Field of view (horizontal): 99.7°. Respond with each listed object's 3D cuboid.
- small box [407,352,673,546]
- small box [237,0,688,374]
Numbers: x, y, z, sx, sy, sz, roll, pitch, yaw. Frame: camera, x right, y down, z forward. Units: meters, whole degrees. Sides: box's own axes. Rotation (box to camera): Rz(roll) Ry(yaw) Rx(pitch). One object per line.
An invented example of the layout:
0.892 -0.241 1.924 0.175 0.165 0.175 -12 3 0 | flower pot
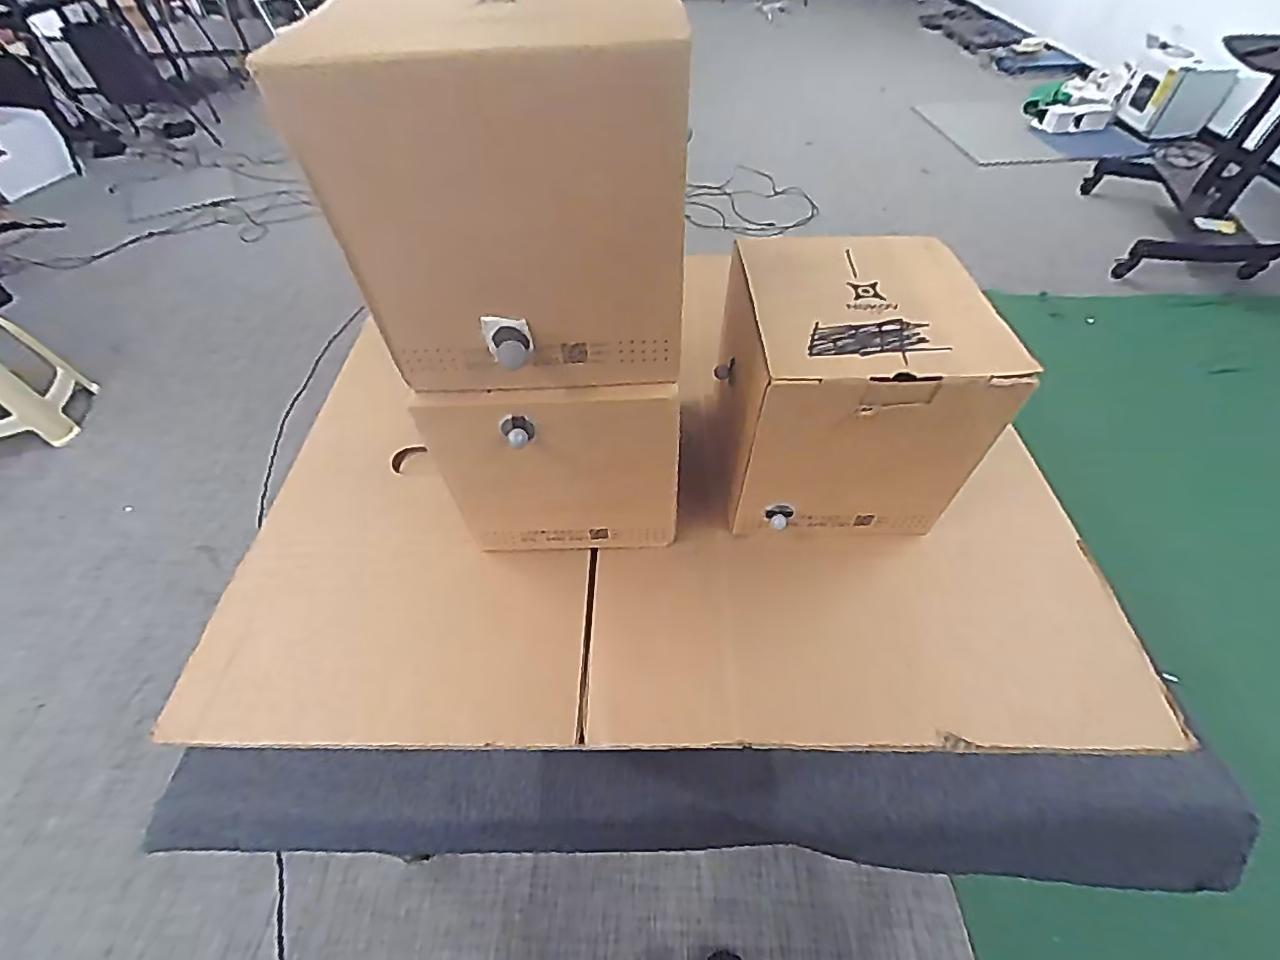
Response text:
-0.058 -0.064 0.440 0.168 0.176 0.179 -2 51 3 | small box
-0.065 -0.182 0.307 0.168 0.176 0.179 -4 53 0 | small box
